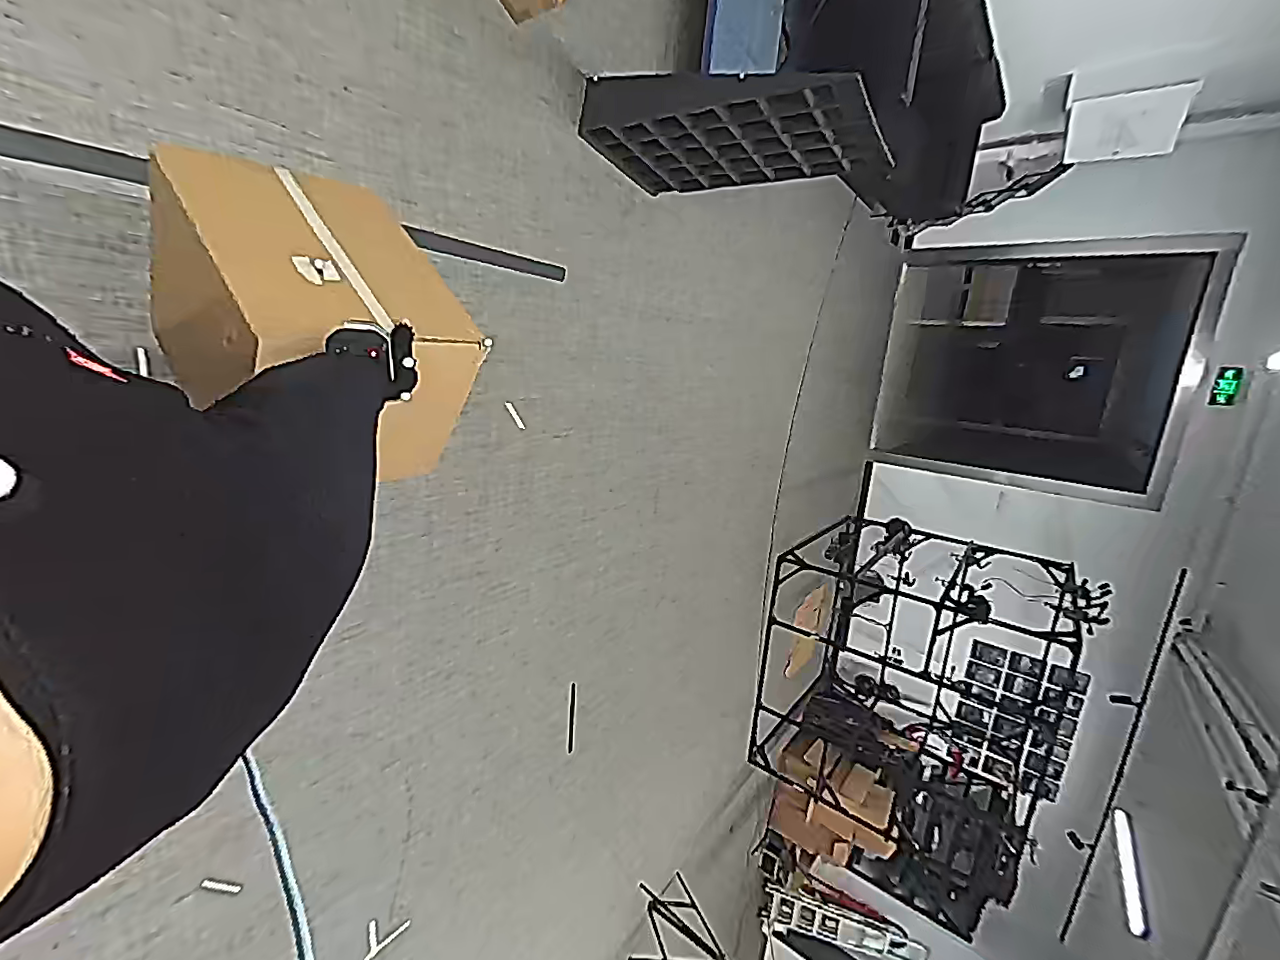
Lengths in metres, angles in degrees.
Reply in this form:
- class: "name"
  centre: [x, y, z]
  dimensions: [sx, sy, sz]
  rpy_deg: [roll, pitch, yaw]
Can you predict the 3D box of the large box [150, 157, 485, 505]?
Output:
- class: "large box"
  centre: [-0.534, -0.228, 0.884]
  dimensions: [0.320, 0.408, 0.320]
  rpy_deg: [-17, 153, -50]
